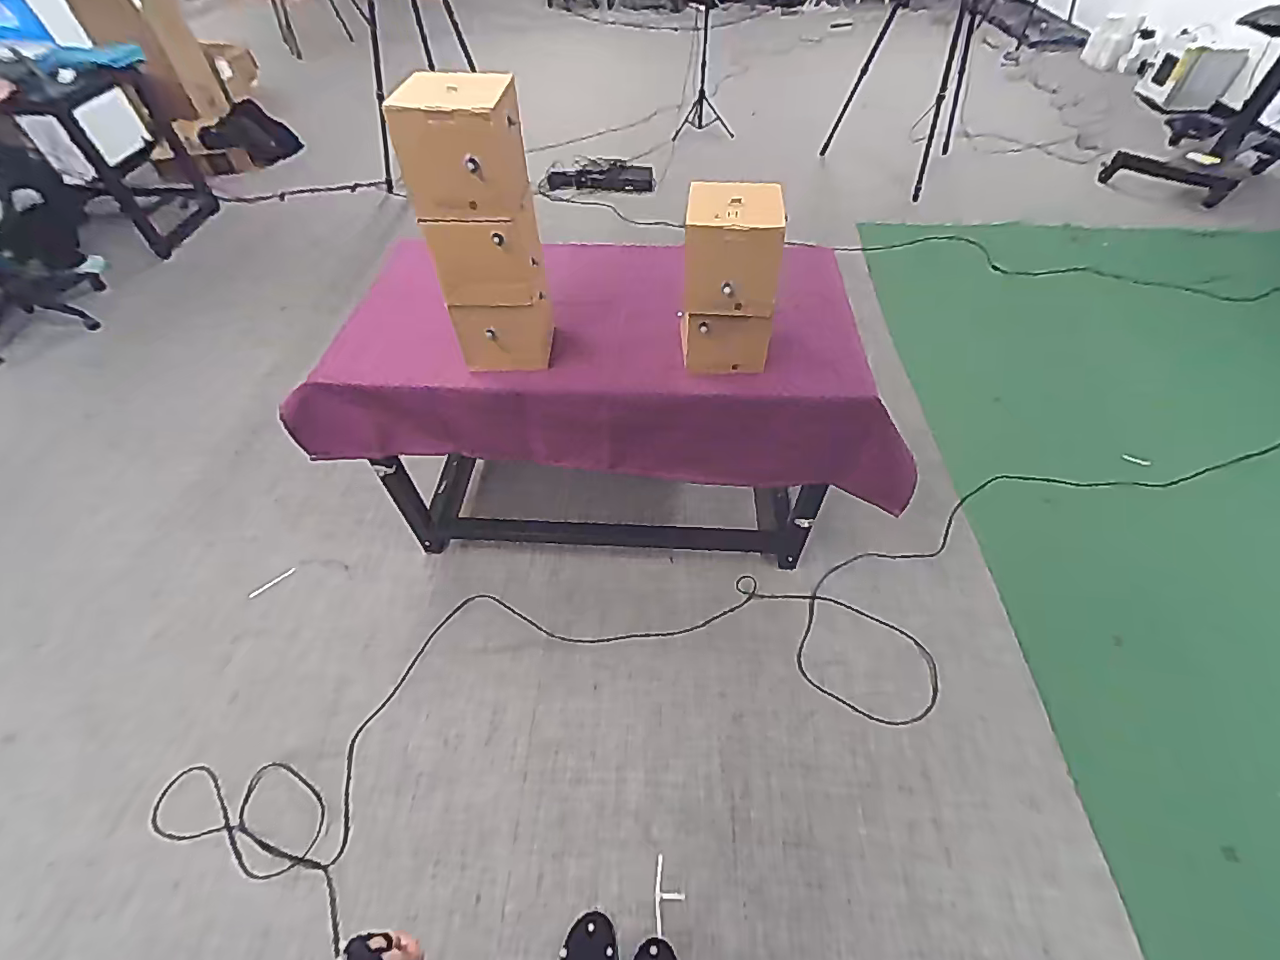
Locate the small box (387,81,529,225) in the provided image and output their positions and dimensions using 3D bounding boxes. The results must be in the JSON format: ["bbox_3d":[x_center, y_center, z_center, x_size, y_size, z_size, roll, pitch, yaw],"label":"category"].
[{"bbox_3d":[-0.290,-0.548,0.911,0.168,0.176,0.179,3,49,1],"label":"small box"}]

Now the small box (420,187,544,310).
[{"bbox_3d":[-0.290,-0.442,1.034,0.179,0.176,0.168,0,50,0],"label":"small box"}]

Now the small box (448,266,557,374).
[{"bbox_3d":[-0.285,-0.342,1.163,0.179,0.176,0.168,0,51,1],"label":"small box"}]

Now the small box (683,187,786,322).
[{"bbox_3d":[0.168,-0.416,0.999,0.168,0.176,0.179,5,50,6],"label":"small box"}]
